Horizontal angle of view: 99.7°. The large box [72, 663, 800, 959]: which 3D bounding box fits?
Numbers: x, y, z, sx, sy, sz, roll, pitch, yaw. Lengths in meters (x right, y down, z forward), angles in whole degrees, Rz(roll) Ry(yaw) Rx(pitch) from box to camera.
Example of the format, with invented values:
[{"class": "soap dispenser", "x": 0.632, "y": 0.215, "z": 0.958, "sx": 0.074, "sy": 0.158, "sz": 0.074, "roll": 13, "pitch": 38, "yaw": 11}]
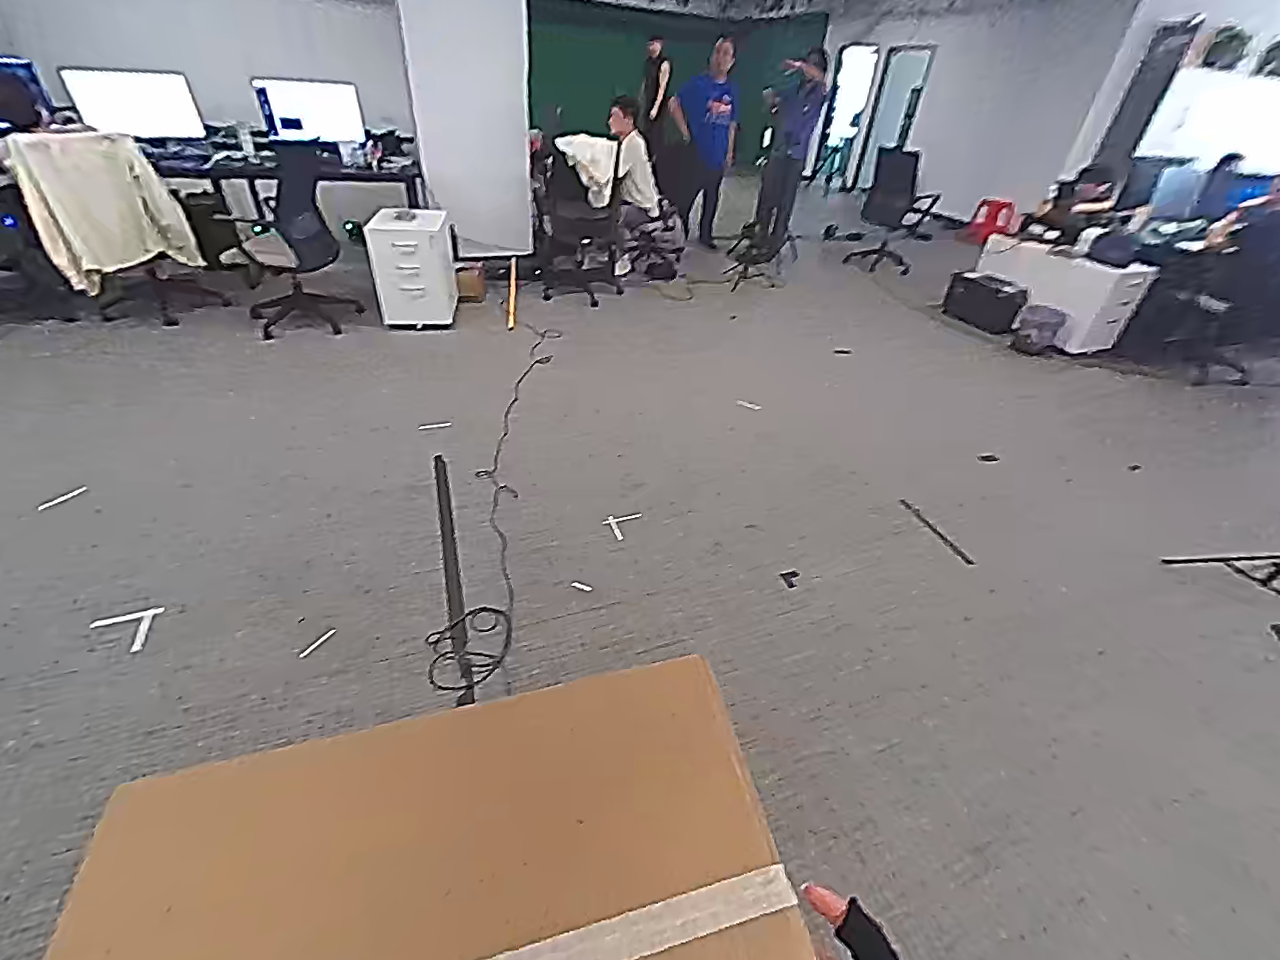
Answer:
[{"class": "large box", "x": -0.112, "y": 0.389, "z": 0.400, "sx": 0.408, "sy": 0.320, "sz": 0.320, "roll": -9, "pitch": 44, "yaw": -11}]
